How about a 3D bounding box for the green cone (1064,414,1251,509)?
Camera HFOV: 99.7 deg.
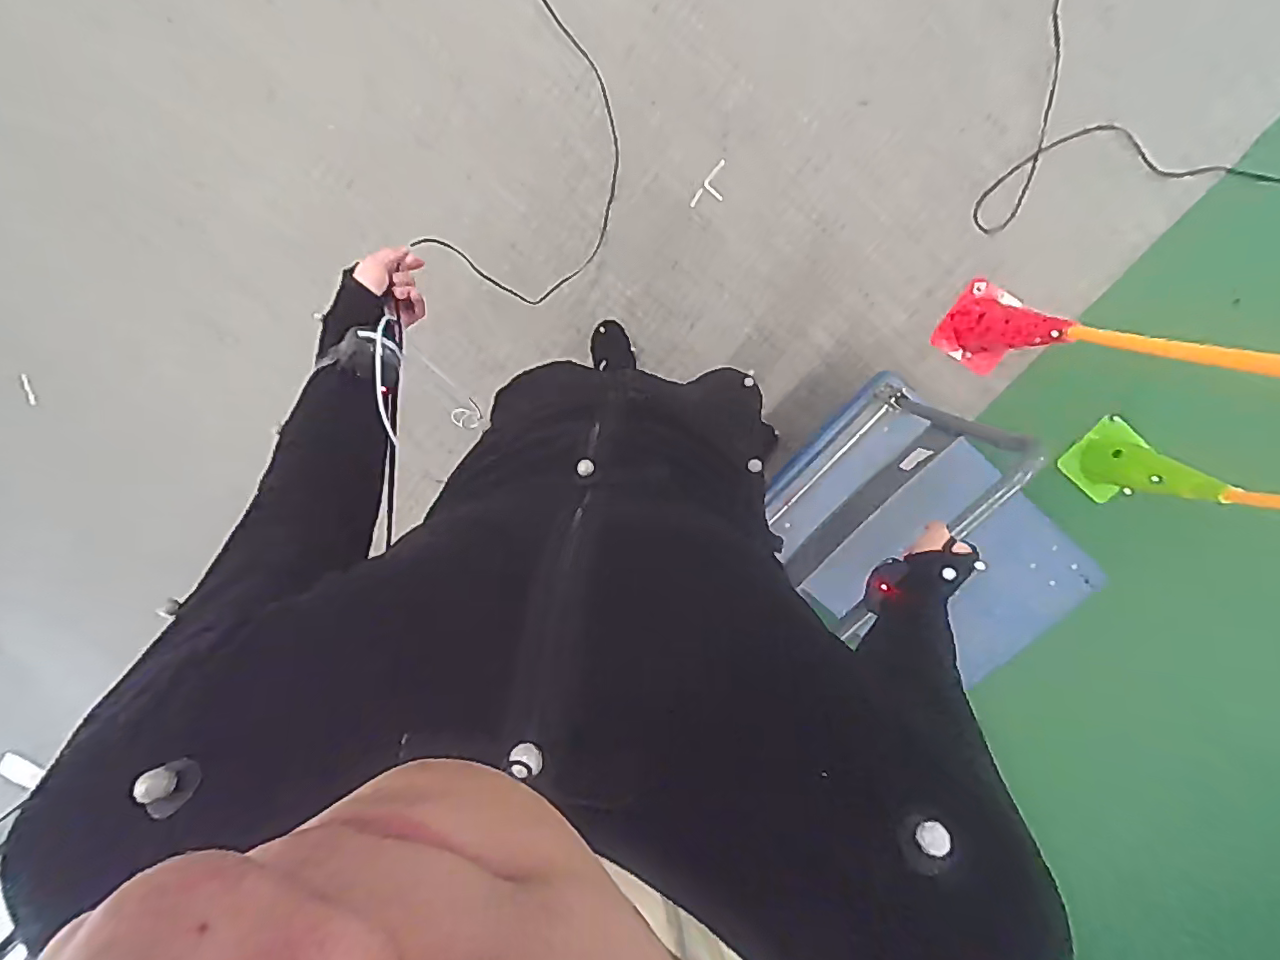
[{"bbox_3d":[1.322,-0.007,1.357,0.202,0.368,0.200,37,105,-9],"label":"green cone"}]
